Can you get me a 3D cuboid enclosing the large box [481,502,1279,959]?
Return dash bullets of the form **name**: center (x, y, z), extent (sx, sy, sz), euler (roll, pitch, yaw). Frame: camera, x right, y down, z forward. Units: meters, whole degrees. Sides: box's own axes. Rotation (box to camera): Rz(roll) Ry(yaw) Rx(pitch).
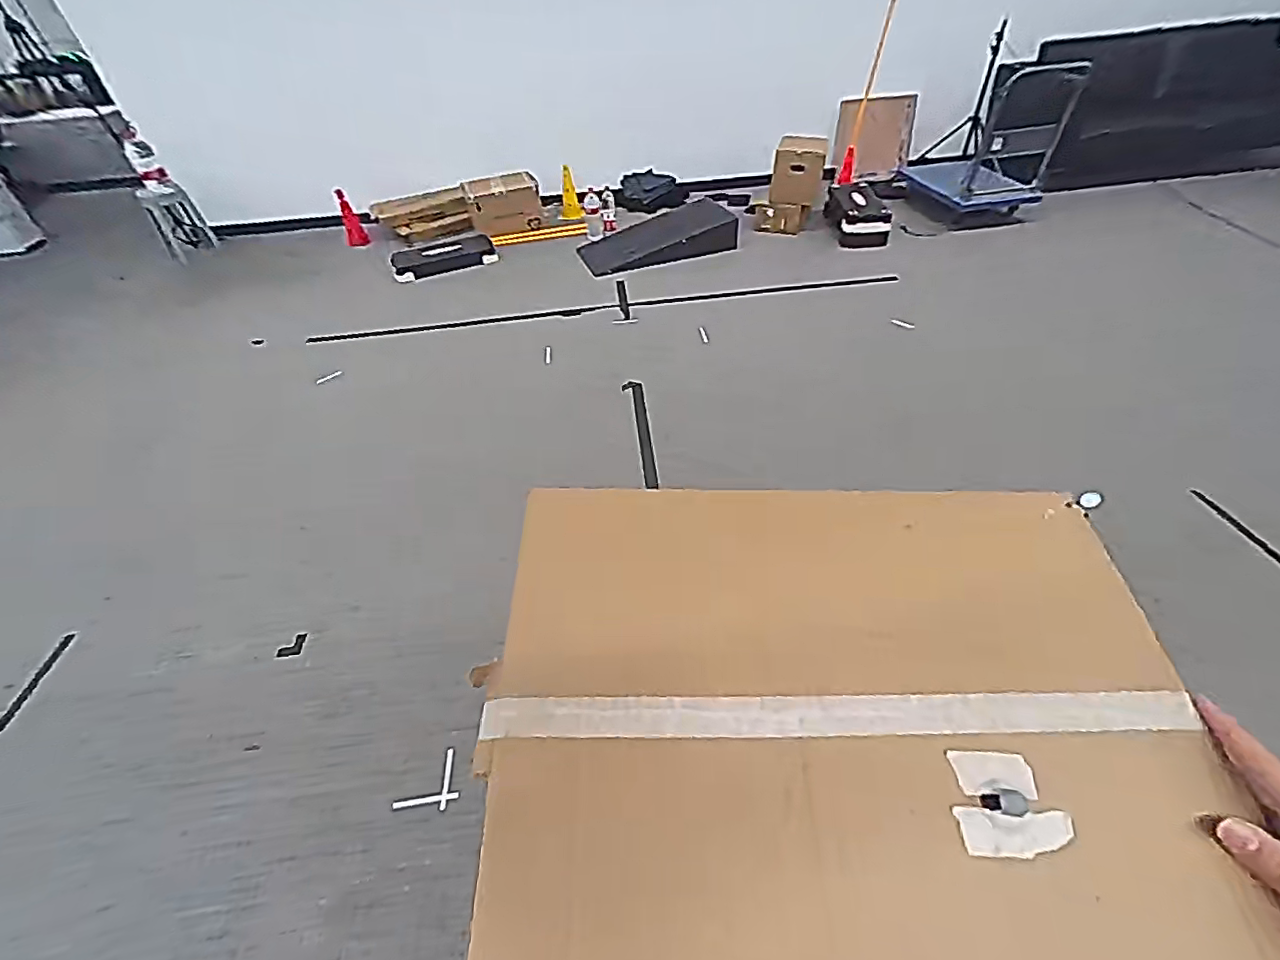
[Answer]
- **large box**: center (0.112, 0.230, 0.440), extent (0.408, 0.320, 0.320), euler (0, 55, -3)
